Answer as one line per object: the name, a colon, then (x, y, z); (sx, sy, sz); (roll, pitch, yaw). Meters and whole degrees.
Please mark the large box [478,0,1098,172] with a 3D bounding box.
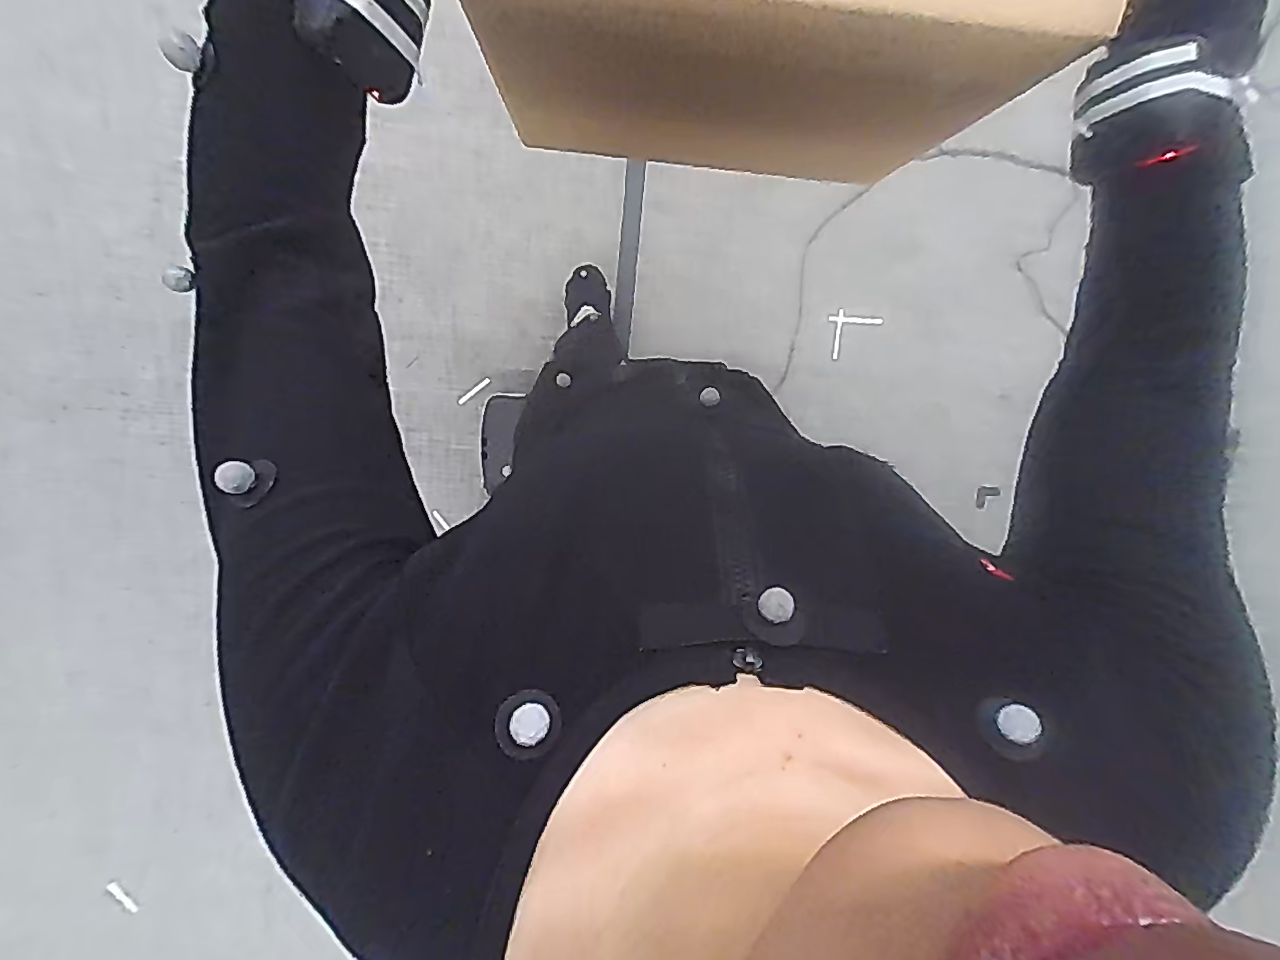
large box: (0.087, -0.476, 0.437); (0.408, 0.320, 0.320); (3, 104, -5)
